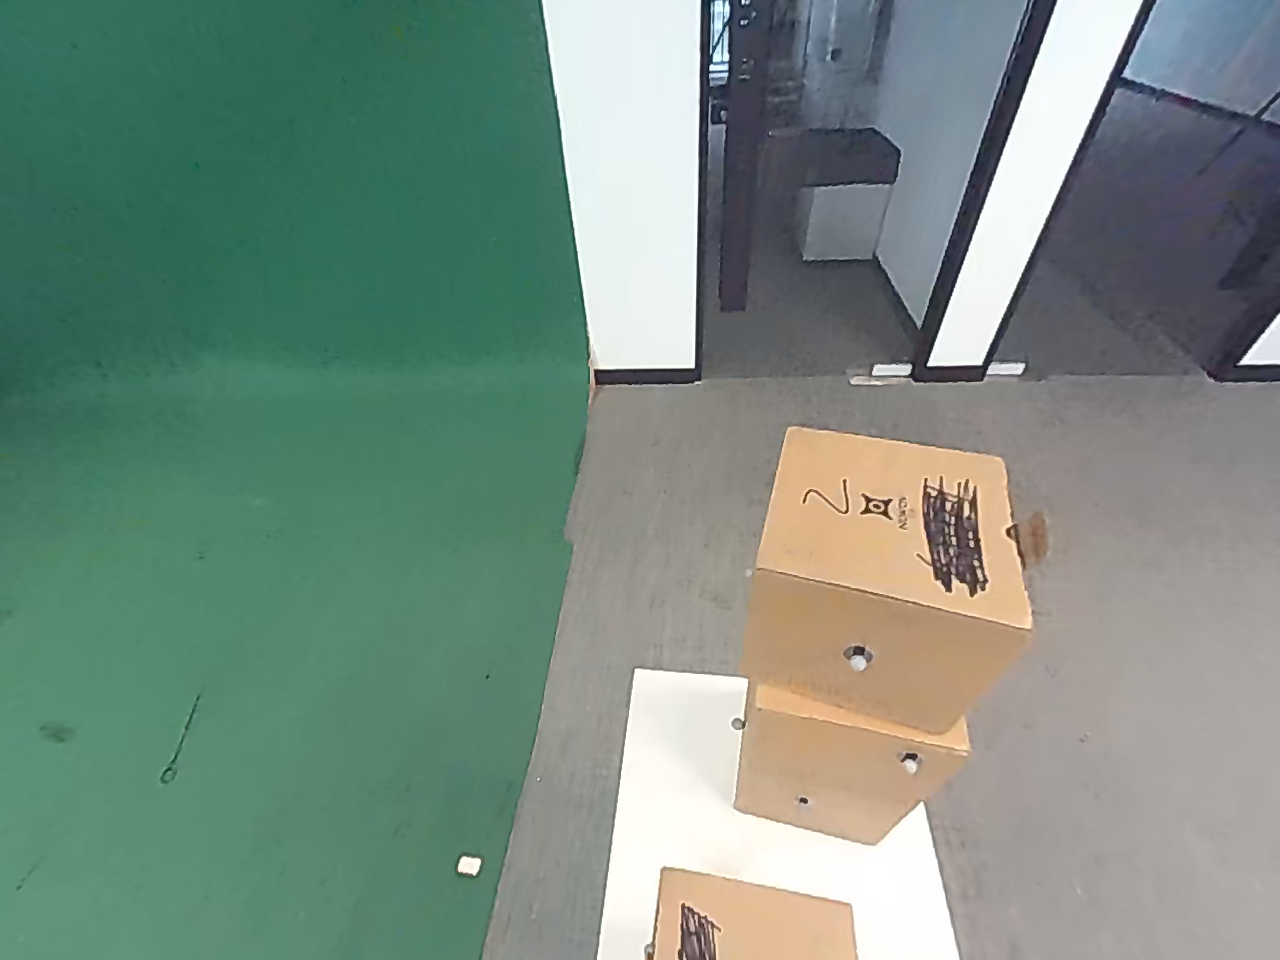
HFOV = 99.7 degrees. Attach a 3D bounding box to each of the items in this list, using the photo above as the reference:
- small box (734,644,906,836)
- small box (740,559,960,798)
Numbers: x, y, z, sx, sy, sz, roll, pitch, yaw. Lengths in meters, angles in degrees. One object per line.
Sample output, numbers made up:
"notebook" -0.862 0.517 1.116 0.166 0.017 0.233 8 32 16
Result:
"small box" 0.217 0.323 0.685 0.179 0.176 0.168 7 46 12
"small box" 0.203 0.209 0.570 0.179 0.176 0.168 7 45 11
